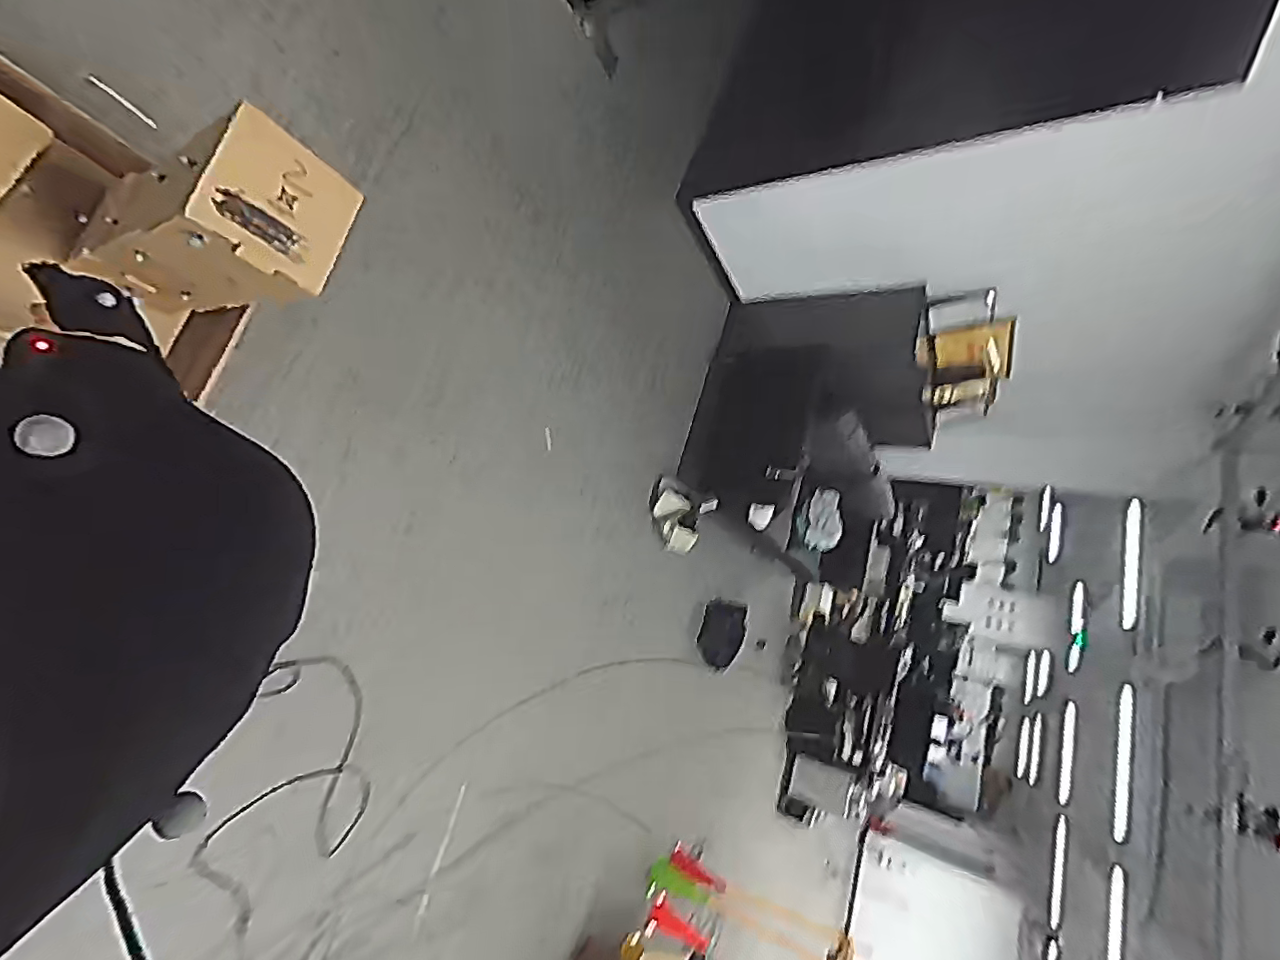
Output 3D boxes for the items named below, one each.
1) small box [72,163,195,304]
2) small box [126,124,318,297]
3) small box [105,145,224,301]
[{"bbox_3d":[-0.938,-0.457,1.036,0.168,0.176,0.179,29,72,-52],"label":"small box"},{"bbox_3d":[-0.665,-0.411,0.860,0.168,0.176,0.179,38,65,-52],"label":"small box"},{"bbox_3d":[-0.783,-0.434,0.945,0.168,0.176,0.179,36,67,-52],"label":"small box"}]
